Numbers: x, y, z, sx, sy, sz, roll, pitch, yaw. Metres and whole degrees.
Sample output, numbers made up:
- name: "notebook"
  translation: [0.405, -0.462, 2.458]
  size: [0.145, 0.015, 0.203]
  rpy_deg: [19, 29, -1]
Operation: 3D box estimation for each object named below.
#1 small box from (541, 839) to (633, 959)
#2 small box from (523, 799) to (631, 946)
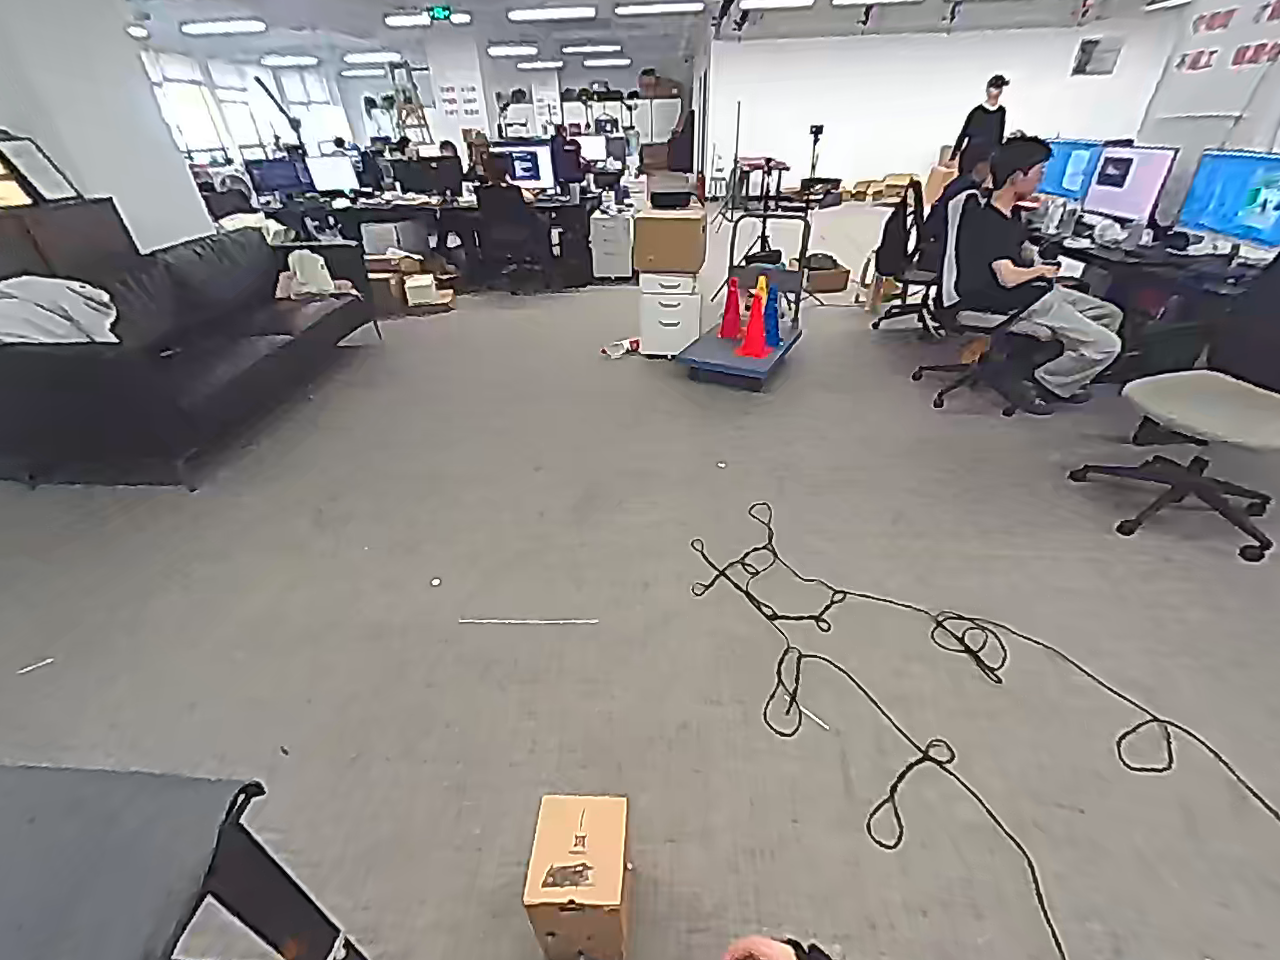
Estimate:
- name: "small box"
  translation: [-0.104, 0.852, 1.095]
  size: [0.168, 0.176, 0.179]
  rpy_deg: [1, 32, 5]
- name: "small box"
  translation: [-0.106, 0.722, 0.996]
  size: [0.168, 0.176, 0.179]
  rpy_deg: [0, 32, 3]
